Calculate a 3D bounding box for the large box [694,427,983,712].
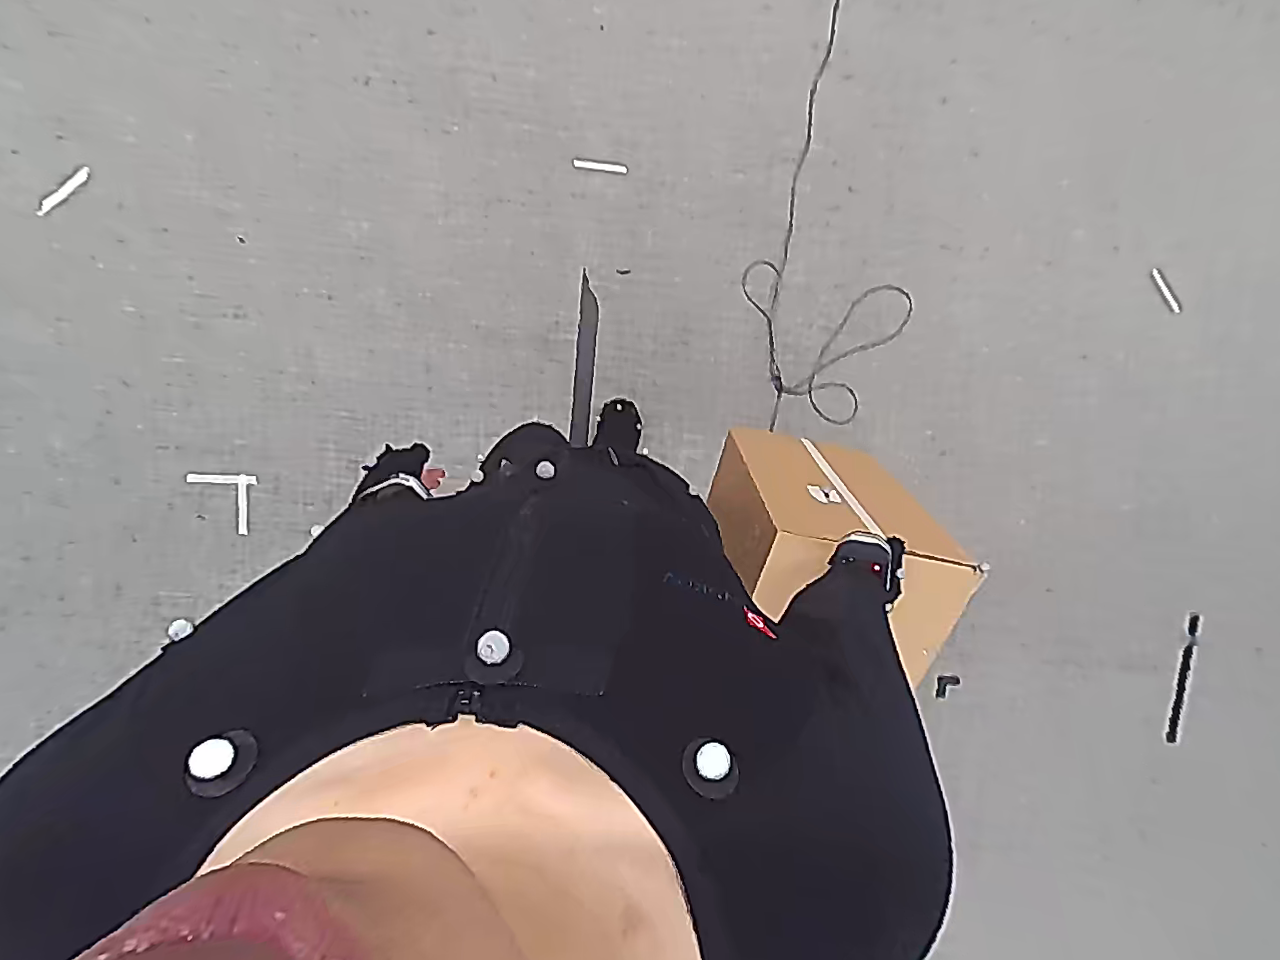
[{"bbox_3d":[0.306,0.142,0.996,0.320,0.408,0.320,10,116,-6],"label":"large box"}]
